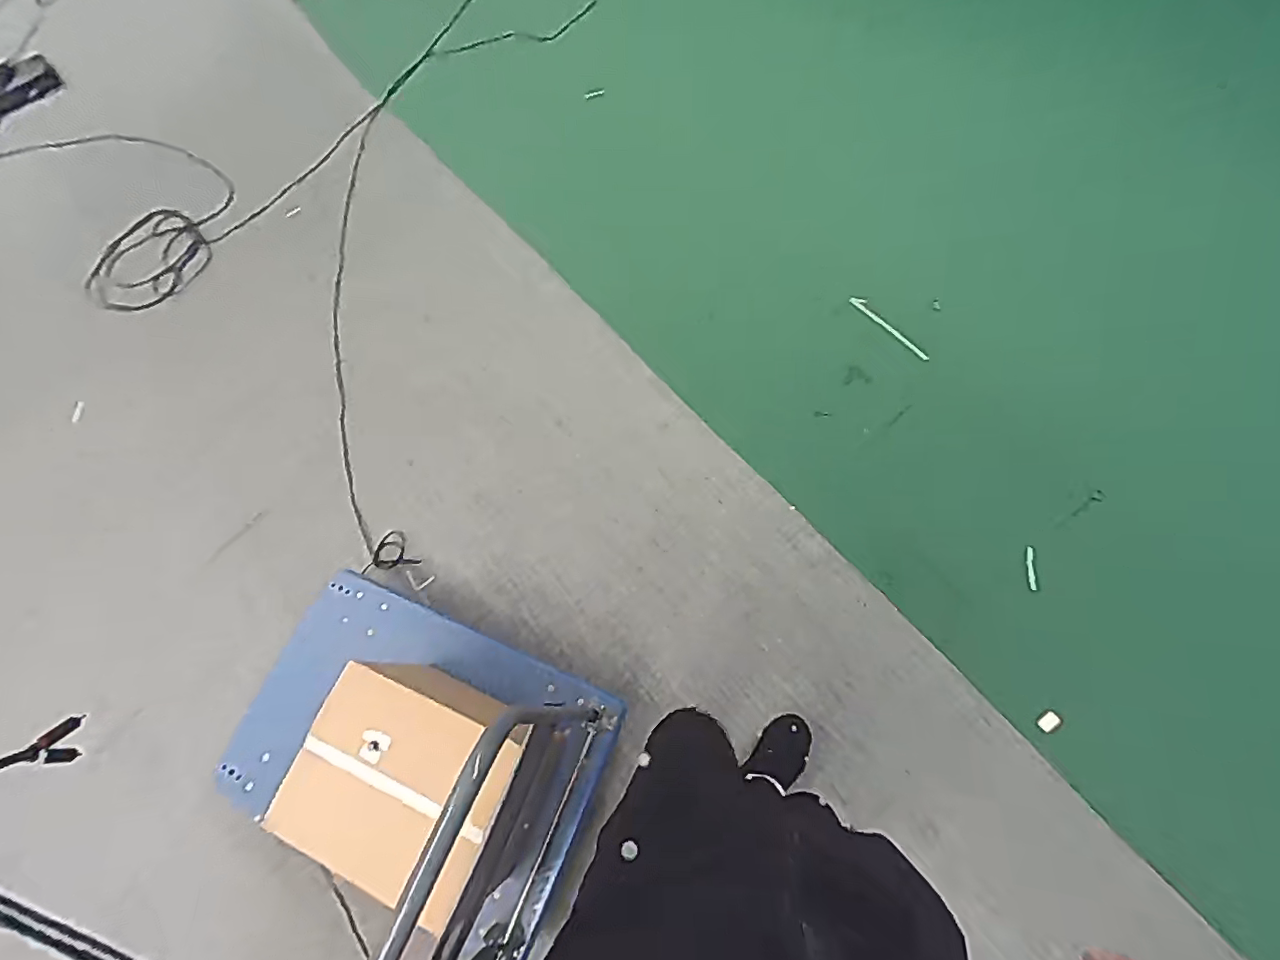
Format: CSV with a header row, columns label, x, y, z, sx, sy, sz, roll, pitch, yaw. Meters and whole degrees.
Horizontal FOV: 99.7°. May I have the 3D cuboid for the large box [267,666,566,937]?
label,x,y,z,sx,sy,sz,roll,pitch,yaw
large box,-0.422,0.611,1.113,0.408,0.320,0.320,19,72,15
